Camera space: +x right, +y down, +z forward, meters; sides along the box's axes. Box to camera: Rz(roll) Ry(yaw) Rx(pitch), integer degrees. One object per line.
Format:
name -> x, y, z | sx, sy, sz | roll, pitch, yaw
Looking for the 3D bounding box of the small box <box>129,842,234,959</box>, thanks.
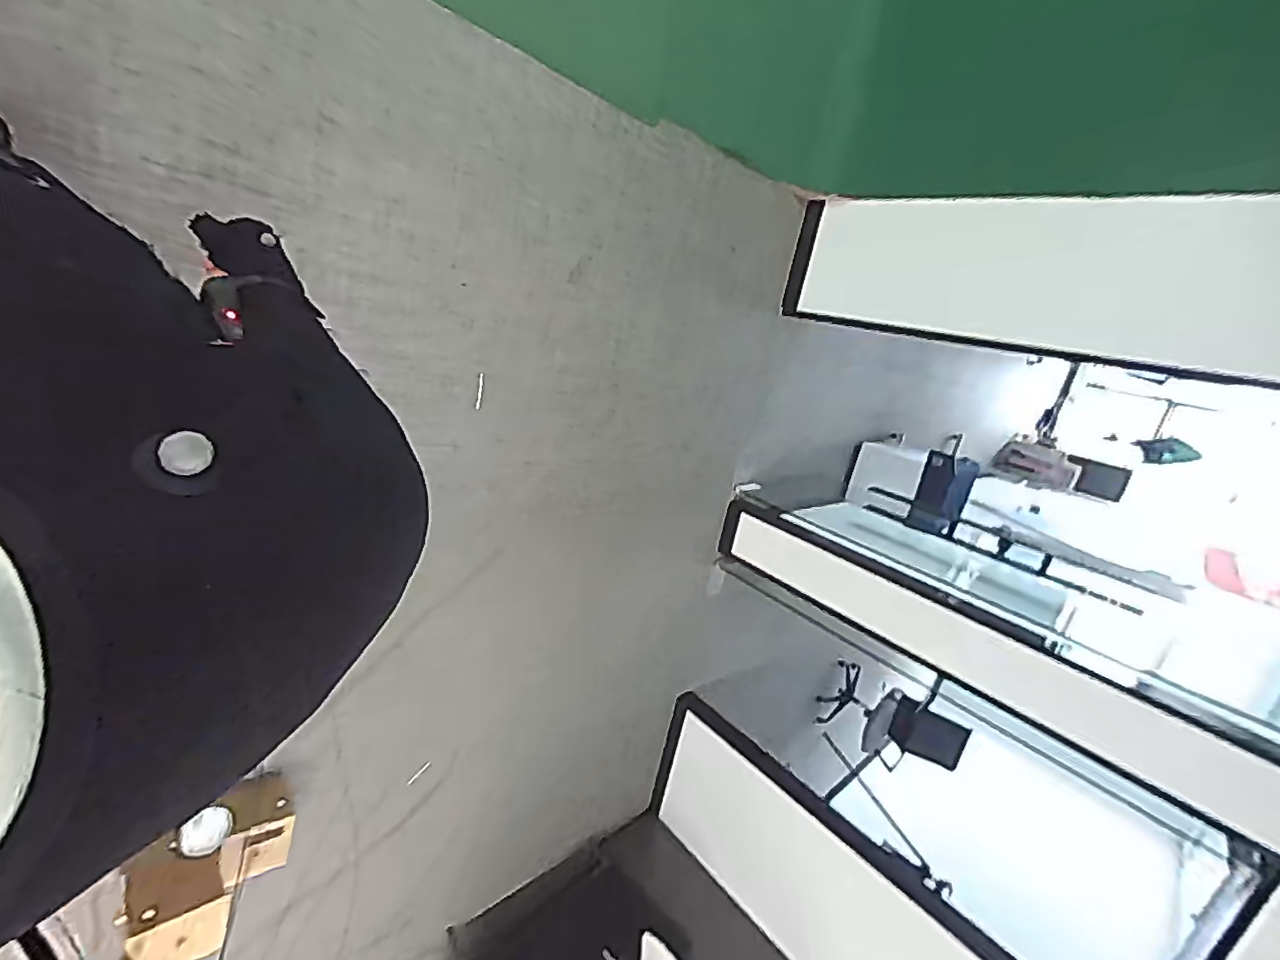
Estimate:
small box -> -1.090, 1.017, 1.286 | 0.179, 0.176, 0.168 | -4, 112, -43
